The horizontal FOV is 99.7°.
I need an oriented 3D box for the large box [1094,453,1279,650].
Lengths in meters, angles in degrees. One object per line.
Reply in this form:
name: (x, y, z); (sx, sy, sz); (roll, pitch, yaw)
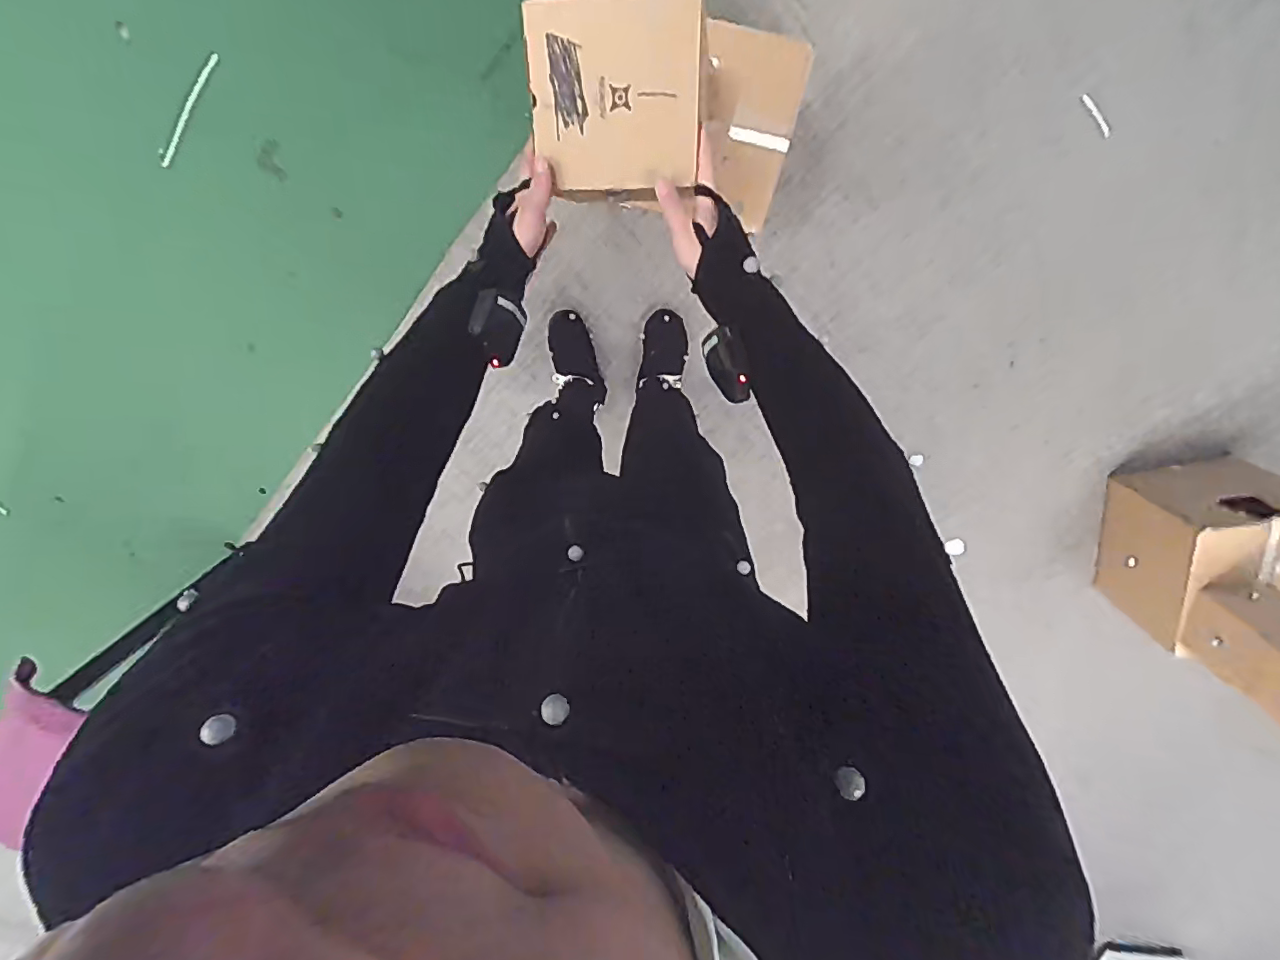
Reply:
large box: (1.509, 0.188, 1.464); (0.320, 0.320, 0.408); (-12, 114, 9)

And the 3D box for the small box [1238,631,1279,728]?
small box: (1.438, 0.438, 1.137); (0.168, 0.176, 0.179); (-7, 114, 9)

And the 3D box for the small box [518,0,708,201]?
small box: (-0.018, -0.409, 0.602); (0.179, 0.176, 0.168); (2, 115, 8)

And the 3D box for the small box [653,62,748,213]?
small box: (0.038, -0.498, 0.779); (0.179, 0.176, 0.168); (15, 116, -3)
